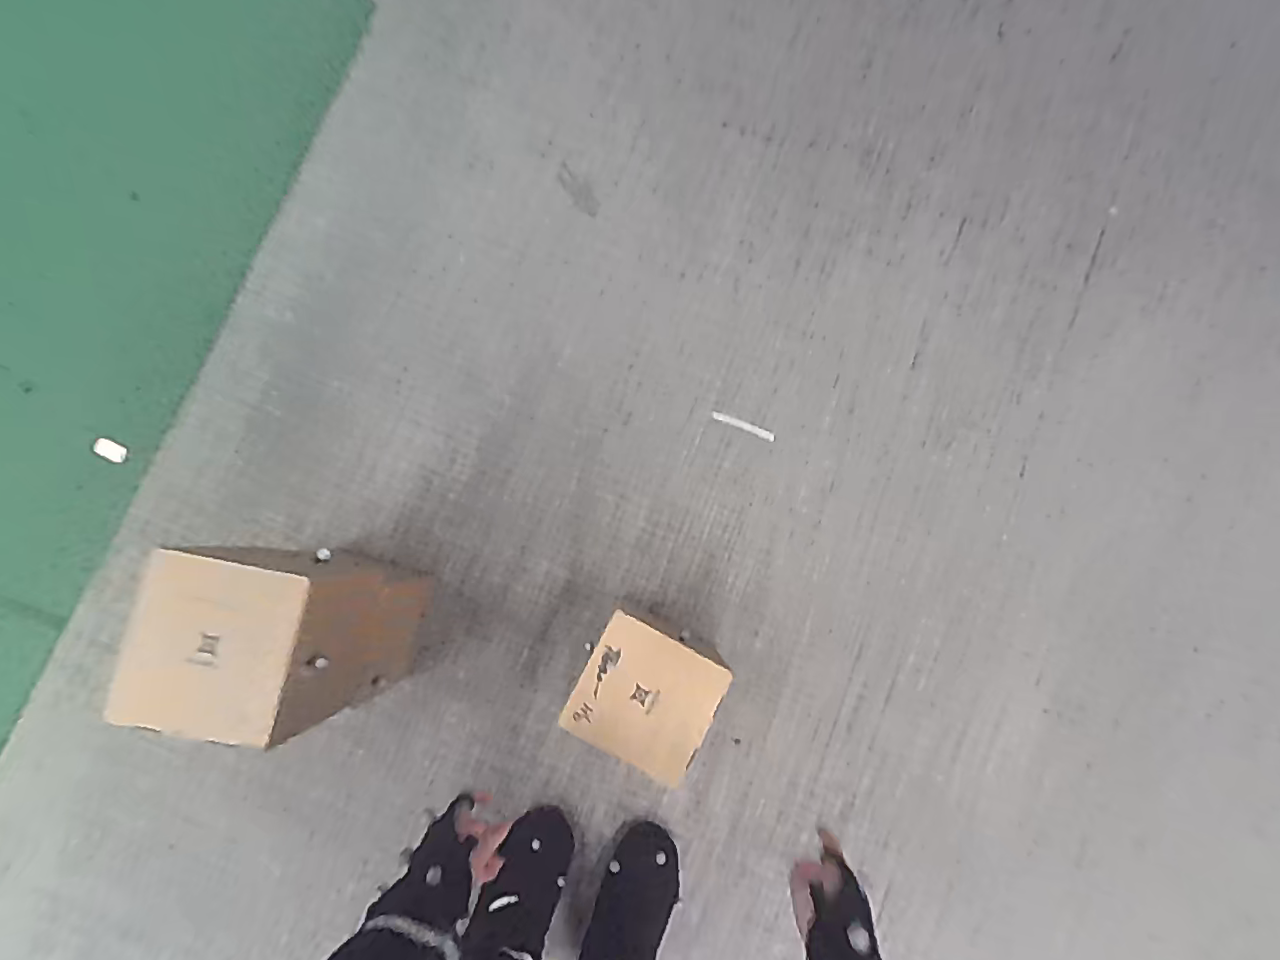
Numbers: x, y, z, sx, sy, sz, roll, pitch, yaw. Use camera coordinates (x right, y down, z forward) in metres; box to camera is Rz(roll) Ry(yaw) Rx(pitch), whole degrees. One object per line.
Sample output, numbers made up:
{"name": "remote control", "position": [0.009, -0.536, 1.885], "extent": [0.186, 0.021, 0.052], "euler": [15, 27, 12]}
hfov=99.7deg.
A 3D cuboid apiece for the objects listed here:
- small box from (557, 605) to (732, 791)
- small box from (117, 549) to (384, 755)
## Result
{"name": "small box", "position": [0.006, 0.293, 0.775], "extent": [0.179, 0.176, 0.168], "euler": [29, 84, 3]}
{"name": "small box", "position": [-0.425, 0.182, 0.625], "extent": [0.168, 0.176, 0.179], "euler": [11, 83, 1]}
